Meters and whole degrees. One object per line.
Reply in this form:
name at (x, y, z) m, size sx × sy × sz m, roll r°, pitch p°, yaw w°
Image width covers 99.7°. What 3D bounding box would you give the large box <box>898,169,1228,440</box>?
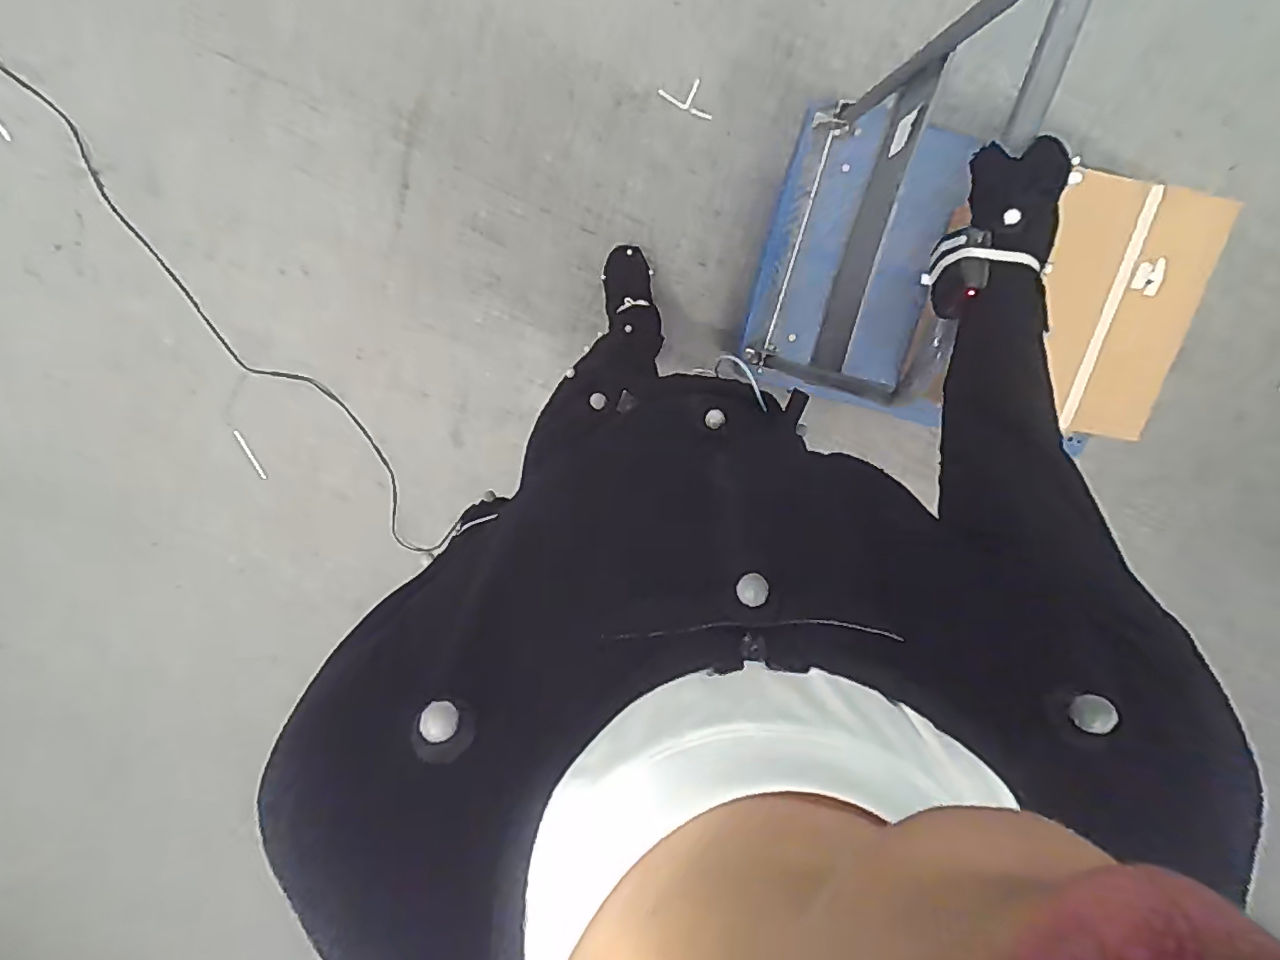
large box at (0.772, -0.321, 1.061) m, size 0.320 × 0.320 × 0.408 m, roll 10°, pitch 105°, yaw -4°
